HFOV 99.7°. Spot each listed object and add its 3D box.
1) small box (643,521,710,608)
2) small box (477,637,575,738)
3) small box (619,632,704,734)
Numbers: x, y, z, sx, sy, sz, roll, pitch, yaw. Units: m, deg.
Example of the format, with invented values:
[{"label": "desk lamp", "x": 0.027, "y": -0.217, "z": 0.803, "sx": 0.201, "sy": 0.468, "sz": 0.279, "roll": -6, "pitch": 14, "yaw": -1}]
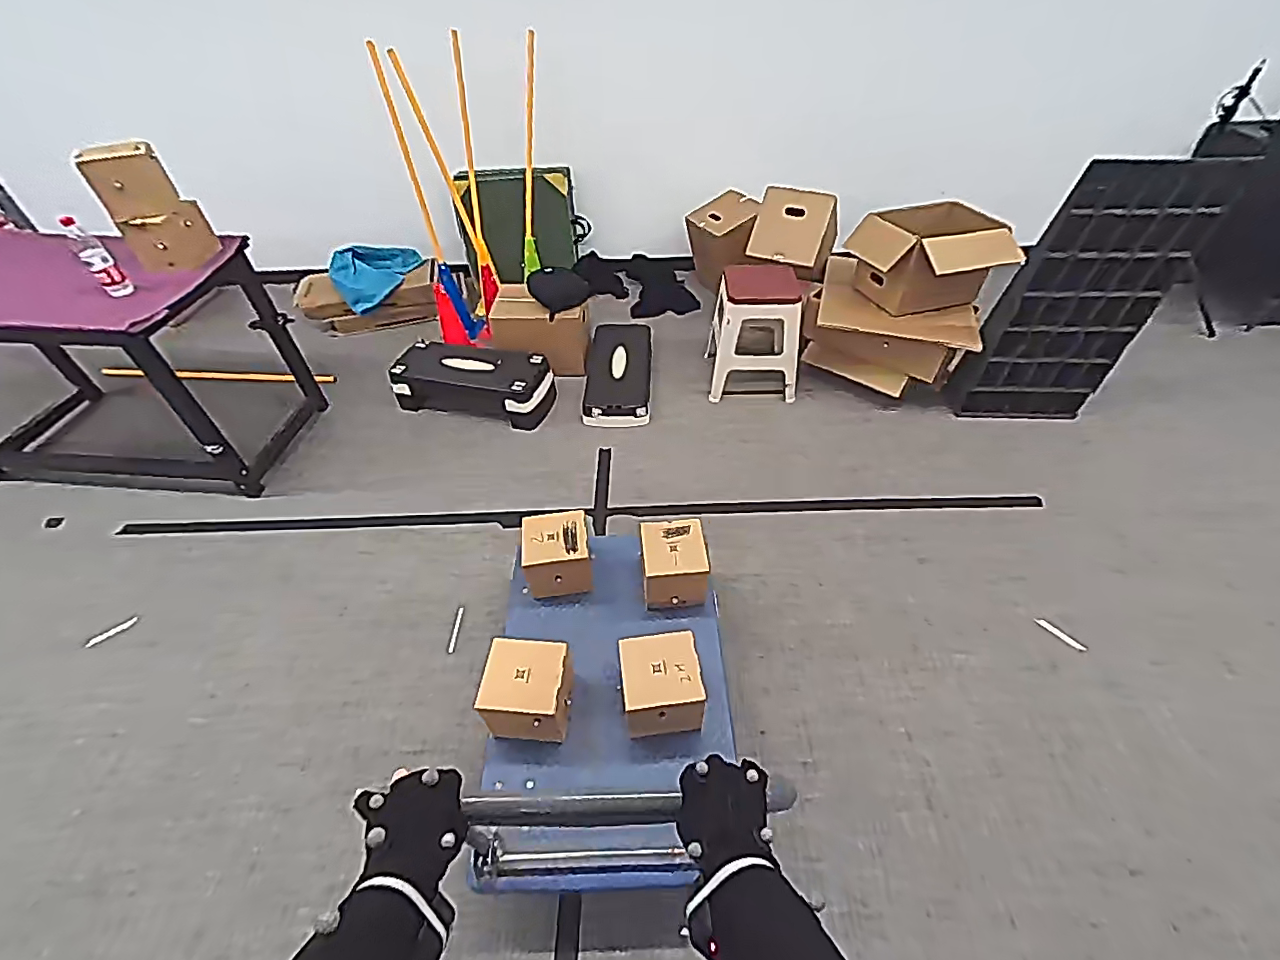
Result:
[{"label": "small box", "x": 0.095, "y": 0.234, "z": 1.493, "sx": 0.168, "sy": 0.176, "sz": 0.179, "roll": -4, "pitch": 48, "yaw": -2}, {"label": "small box", "x": -0.256, "y": 0.486, "z": 1.263, "sx": 0.179, "sy": 0.176, "sz": 0.168, "roll": 4, "pitch": 46, "yaw": 3}, {"label": "small box", "x": 0.049, "y": 0.477, "z": 1.263, "sx": 0.179, "sy": 0.176, "sz": 0.168, "roll": -5, "pitch": 47, "yaw": -3}]
